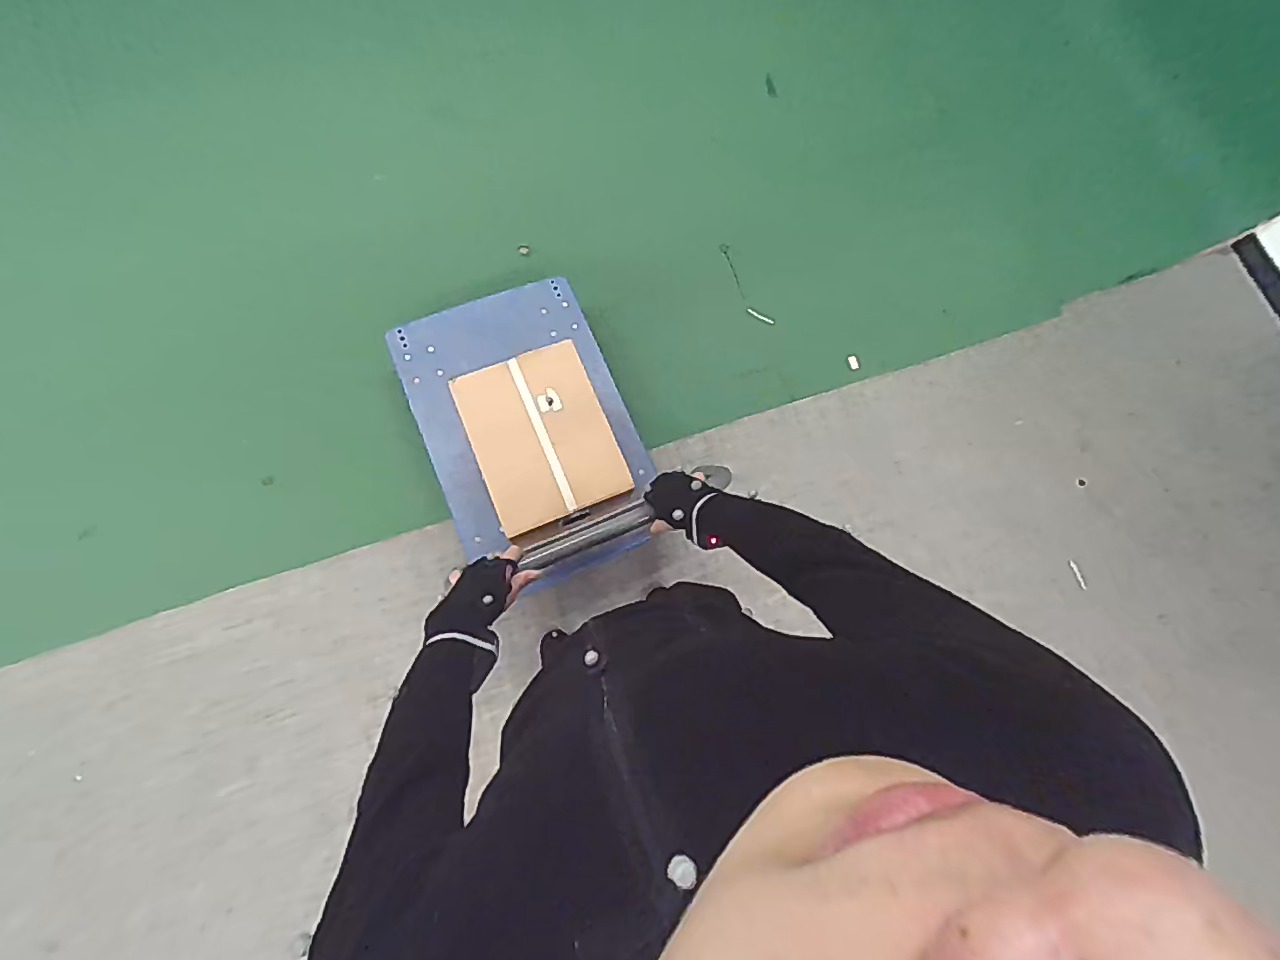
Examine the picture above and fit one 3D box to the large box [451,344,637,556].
[{"bbox_3d":[-0.233,-0.060,1.385,0.320,0.320,0.408,-22,78,-11],"label":"large box"}]
